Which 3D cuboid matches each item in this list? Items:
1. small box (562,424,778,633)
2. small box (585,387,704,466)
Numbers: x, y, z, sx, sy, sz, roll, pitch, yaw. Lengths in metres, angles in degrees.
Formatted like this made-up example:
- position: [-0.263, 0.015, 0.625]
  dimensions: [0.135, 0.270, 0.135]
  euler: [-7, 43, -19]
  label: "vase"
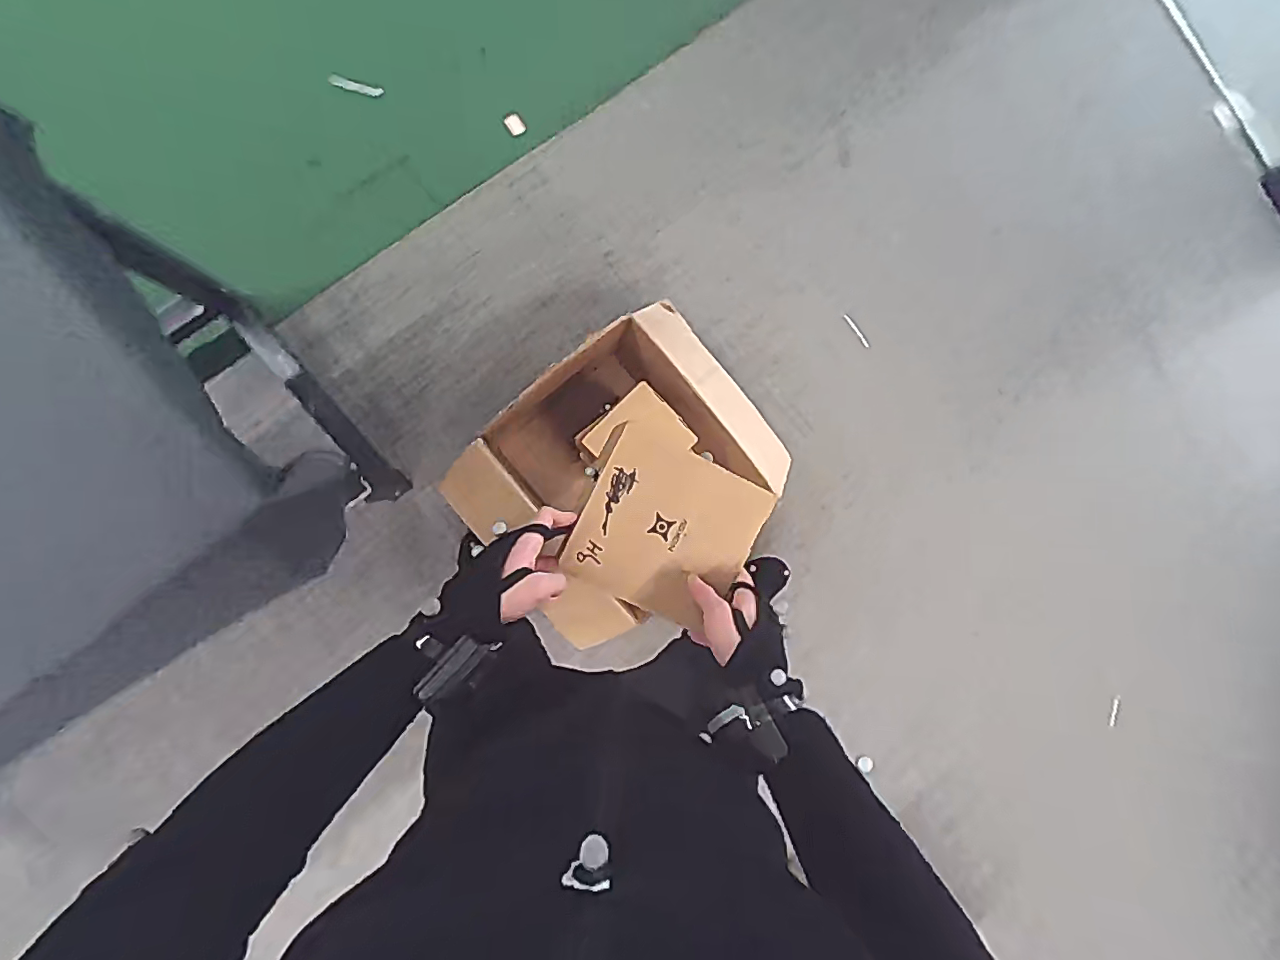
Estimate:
- position: [0.023, 0.046, 0.628]
  dimensions: [0.179, 0.176, 0.168]
  euler: [27, 89, -8]
  label: "small box"
- position: [0.000, -0.069, 1.131]
  dimensions: [0.179, 0.176, 0.168]
  euler: [-45, 98, -5]
  label: "small box"
